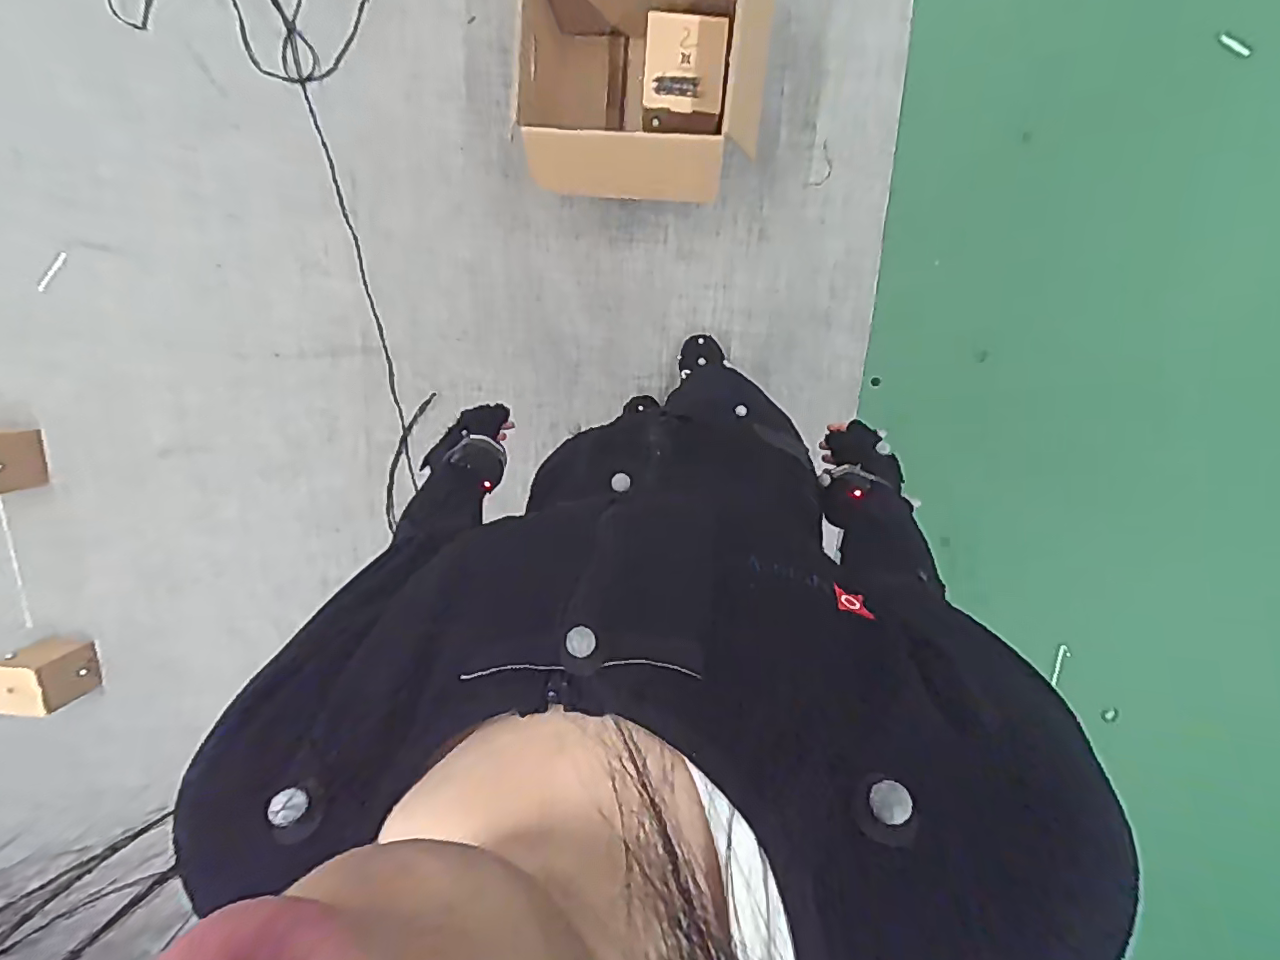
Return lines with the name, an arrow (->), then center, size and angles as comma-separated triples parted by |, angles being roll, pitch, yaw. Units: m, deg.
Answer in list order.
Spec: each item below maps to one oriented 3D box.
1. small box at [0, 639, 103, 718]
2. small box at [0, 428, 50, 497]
small box -> -1.857, 0.614, 1.693 | 0.179, 0.176, 0.168 | 2, 104, 4
small box -> -1.853, -0.052, 1.532 | 0.168, 0.176, 0.179 | 2, 104, 3
